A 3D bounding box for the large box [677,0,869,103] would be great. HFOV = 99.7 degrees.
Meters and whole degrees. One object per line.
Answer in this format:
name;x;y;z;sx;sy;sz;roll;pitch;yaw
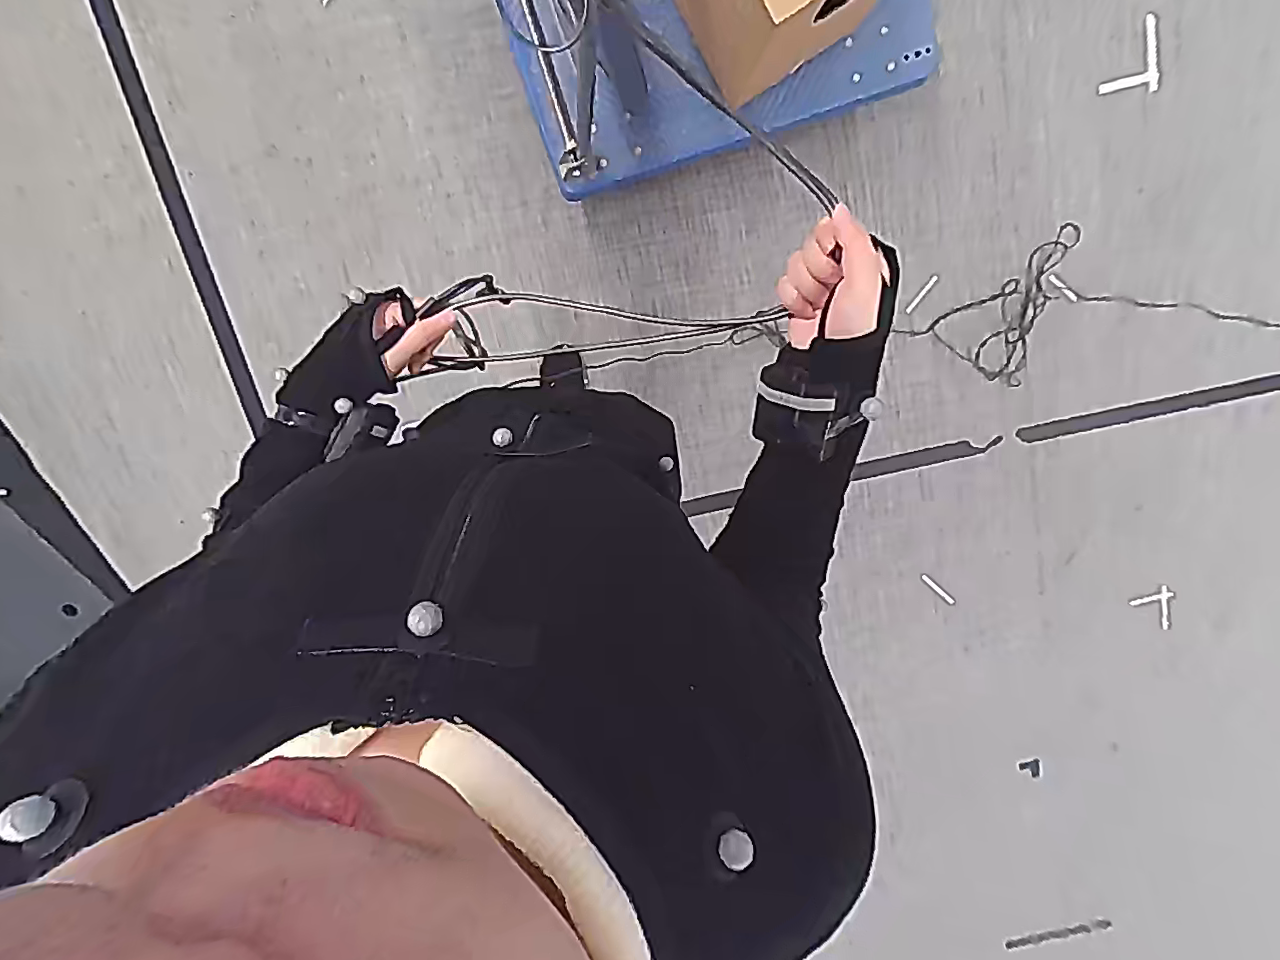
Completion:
large box;0.228;-1.010;0.961;0.320;0.320;0.408;-33;104;4
